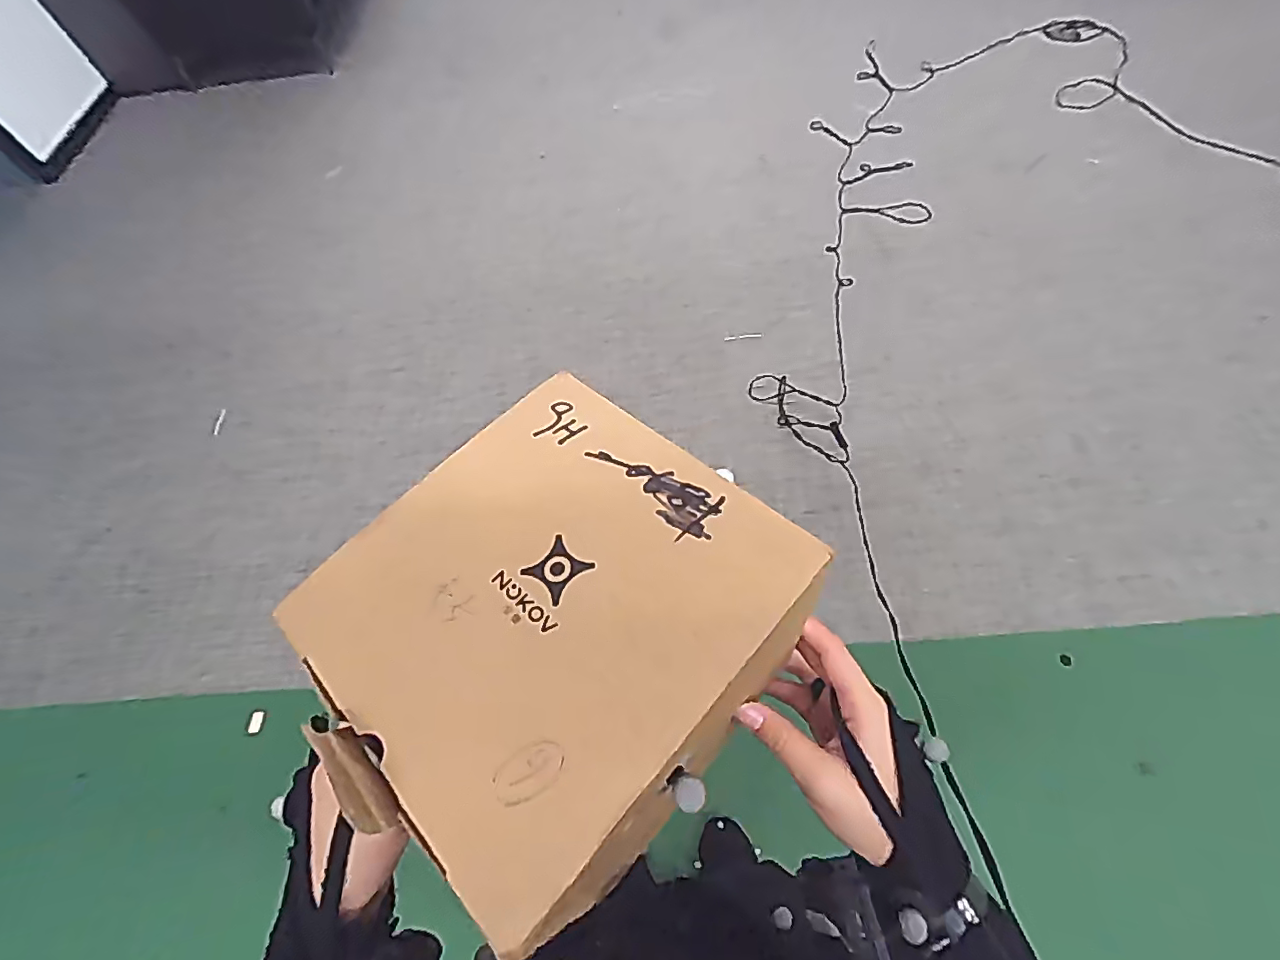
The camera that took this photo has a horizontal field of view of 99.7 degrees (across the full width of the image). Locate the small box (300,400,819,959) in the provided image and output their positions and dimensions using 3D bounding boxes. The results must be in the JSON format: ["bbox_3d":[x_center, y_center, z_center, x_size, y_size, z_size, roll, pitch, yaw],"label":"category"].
[{"bbox_3d":[-0.028,0.097,0.300,0.168,0.176,0.179,36,69,26],"label":"small box"}]
